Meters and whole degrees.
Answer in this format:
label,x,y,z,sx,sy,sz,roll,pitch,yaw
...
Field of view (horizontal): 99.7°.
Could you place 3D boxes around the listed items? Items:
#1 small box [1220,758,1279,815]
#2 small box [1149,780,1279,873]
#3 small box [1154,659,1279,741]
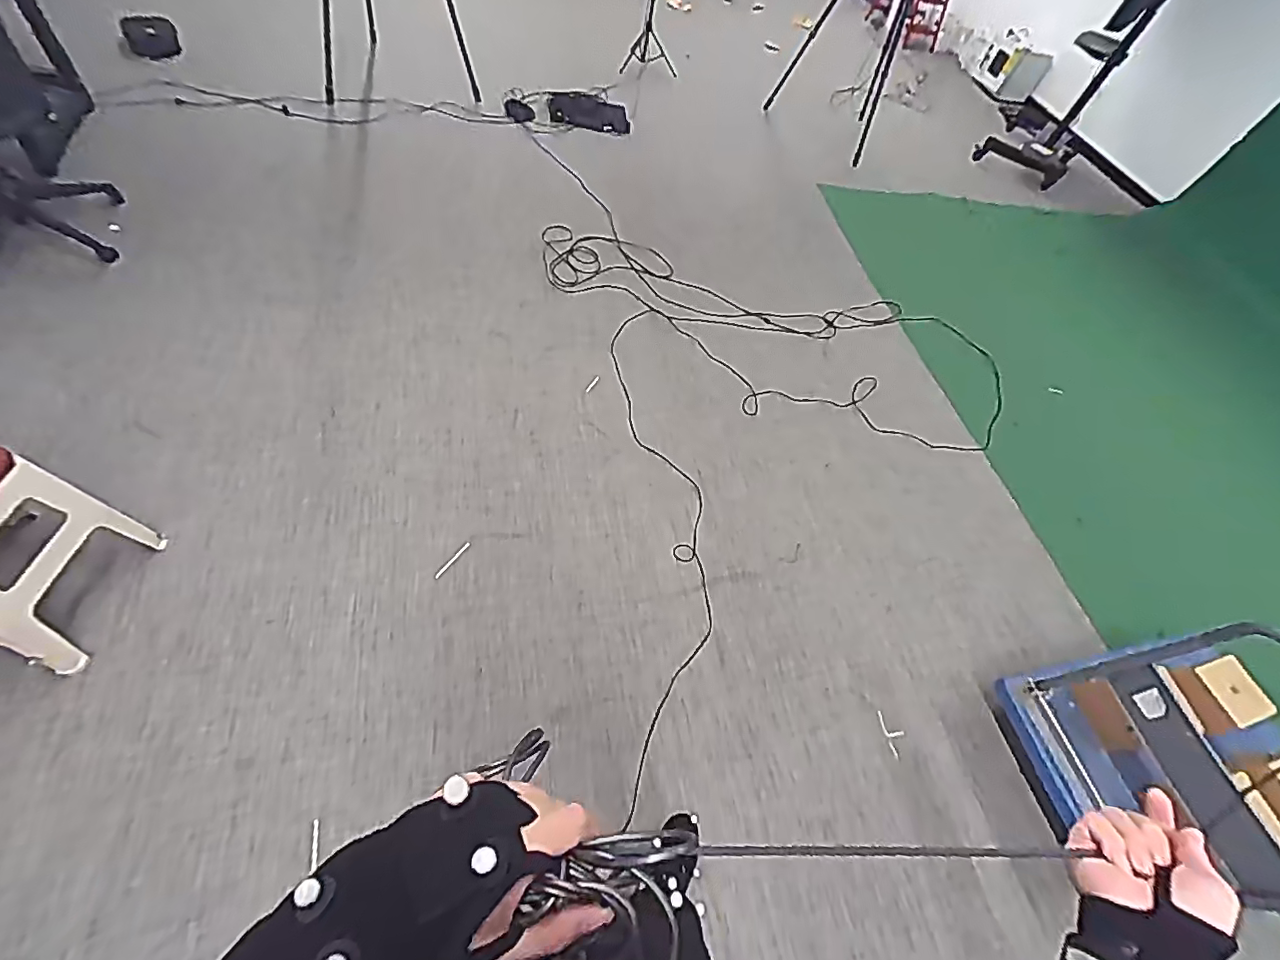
label,x,y,z,sx,sy,sz,roll,pitch,yaw
small box,1.723,0.843,1.431,0.179,0.176,0.168,-9,58,-16
small box,1.463,0.867,1.360,0.179,0.176,0.168,-5,58,-14
small box,1.652,0.637,1.555,0.179,0.176,0.168,-8,59,-17
